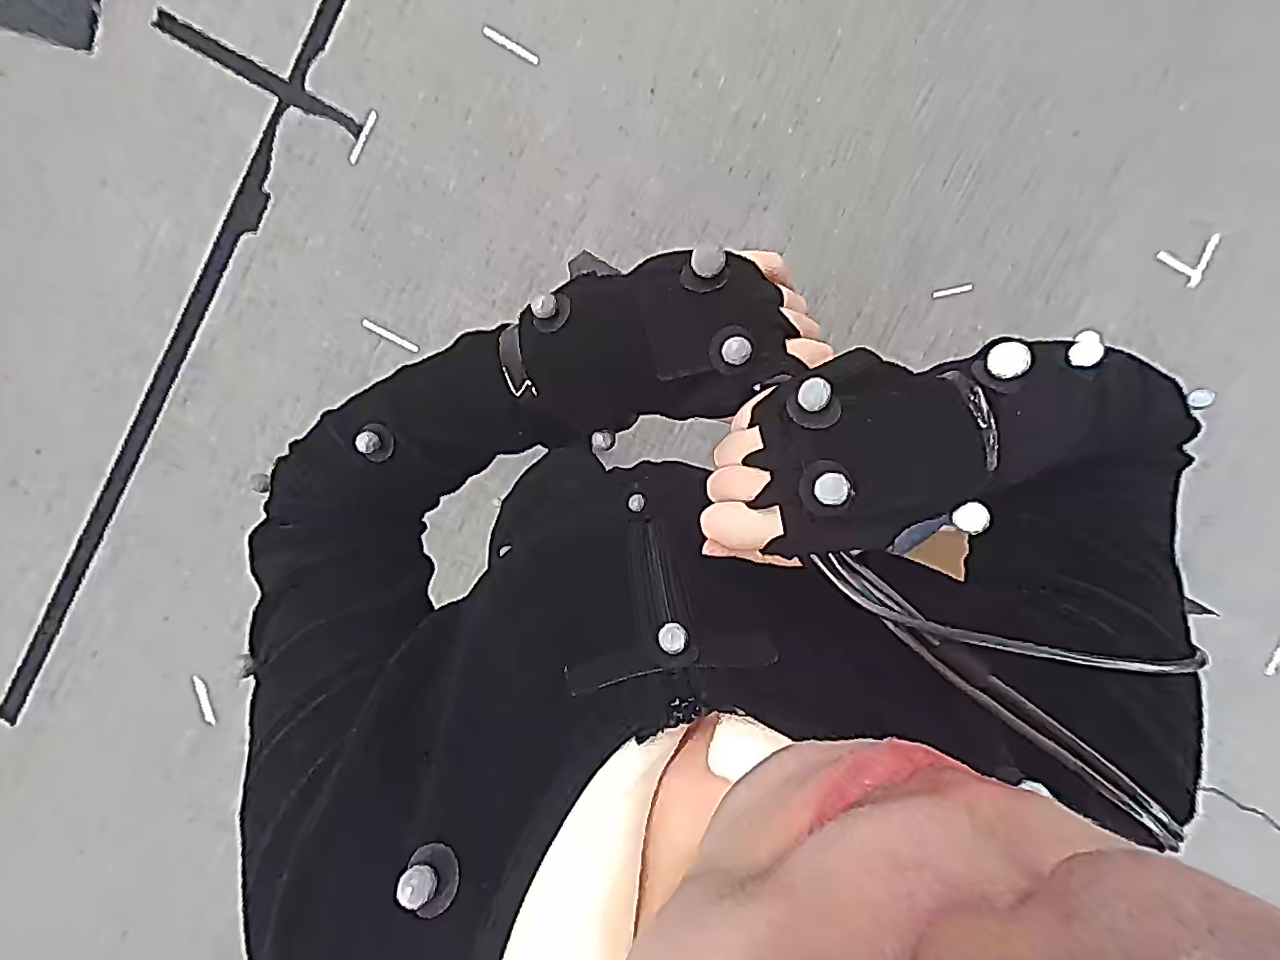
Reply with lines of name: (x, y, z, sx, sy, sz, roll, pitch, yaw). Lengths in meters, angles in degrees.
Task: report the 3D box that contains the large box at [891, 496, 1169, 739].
large box: (0.891, 0.295, 1.279, 0.320, 0.320, 0.408, -34, 98, -2)
